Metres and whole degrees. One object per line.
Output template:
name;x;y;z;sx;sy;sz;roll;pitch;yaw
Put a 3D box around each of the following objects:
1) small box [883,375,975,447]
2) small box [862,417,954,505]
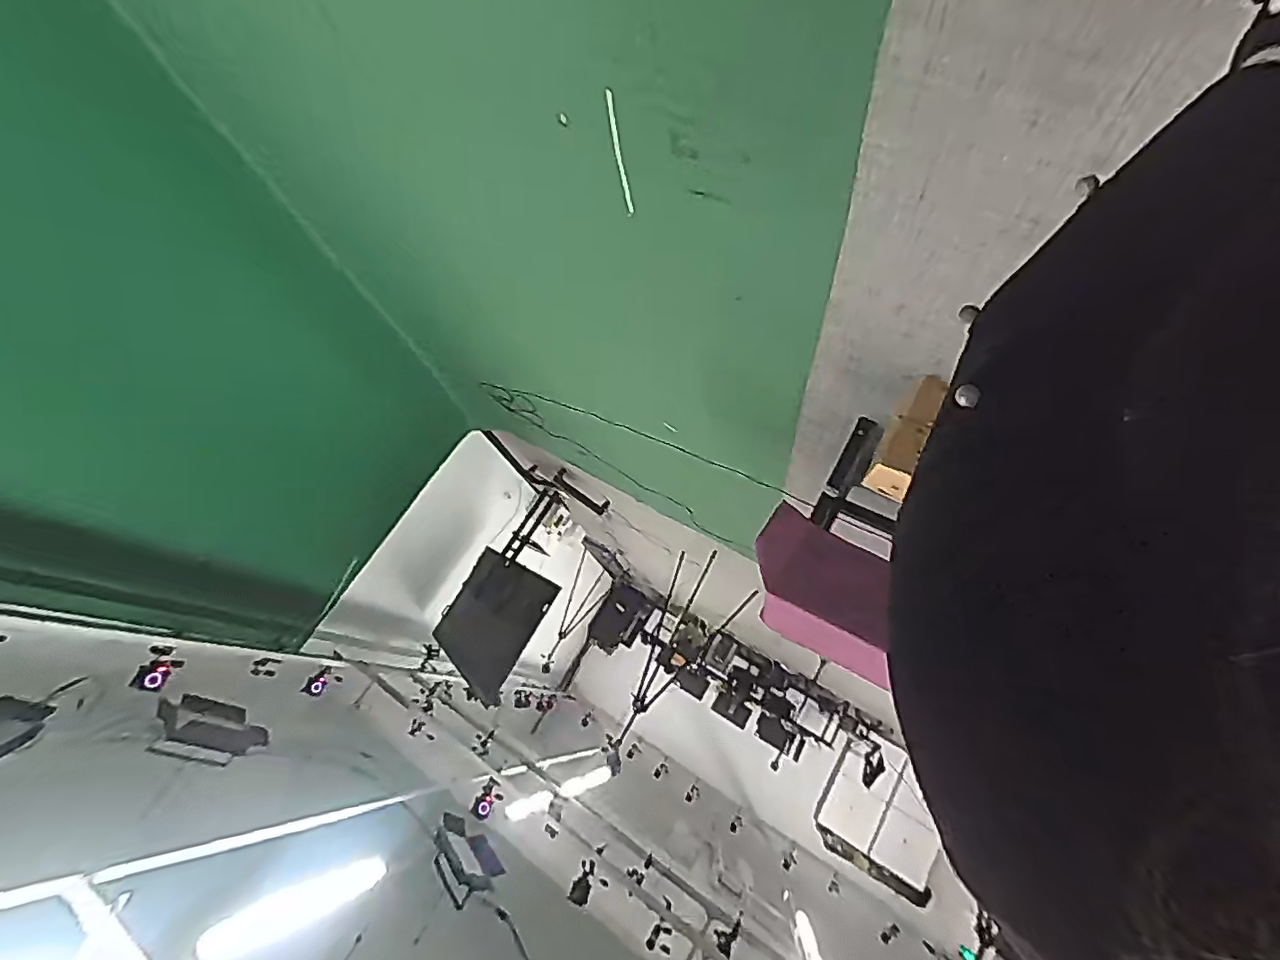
small box;0.877;-0.187;1.637;0.168;0.176;0.179;30;165;11
small box;0.787;-0.058;1.587;0.168;0.176;0.179;29;163;15
